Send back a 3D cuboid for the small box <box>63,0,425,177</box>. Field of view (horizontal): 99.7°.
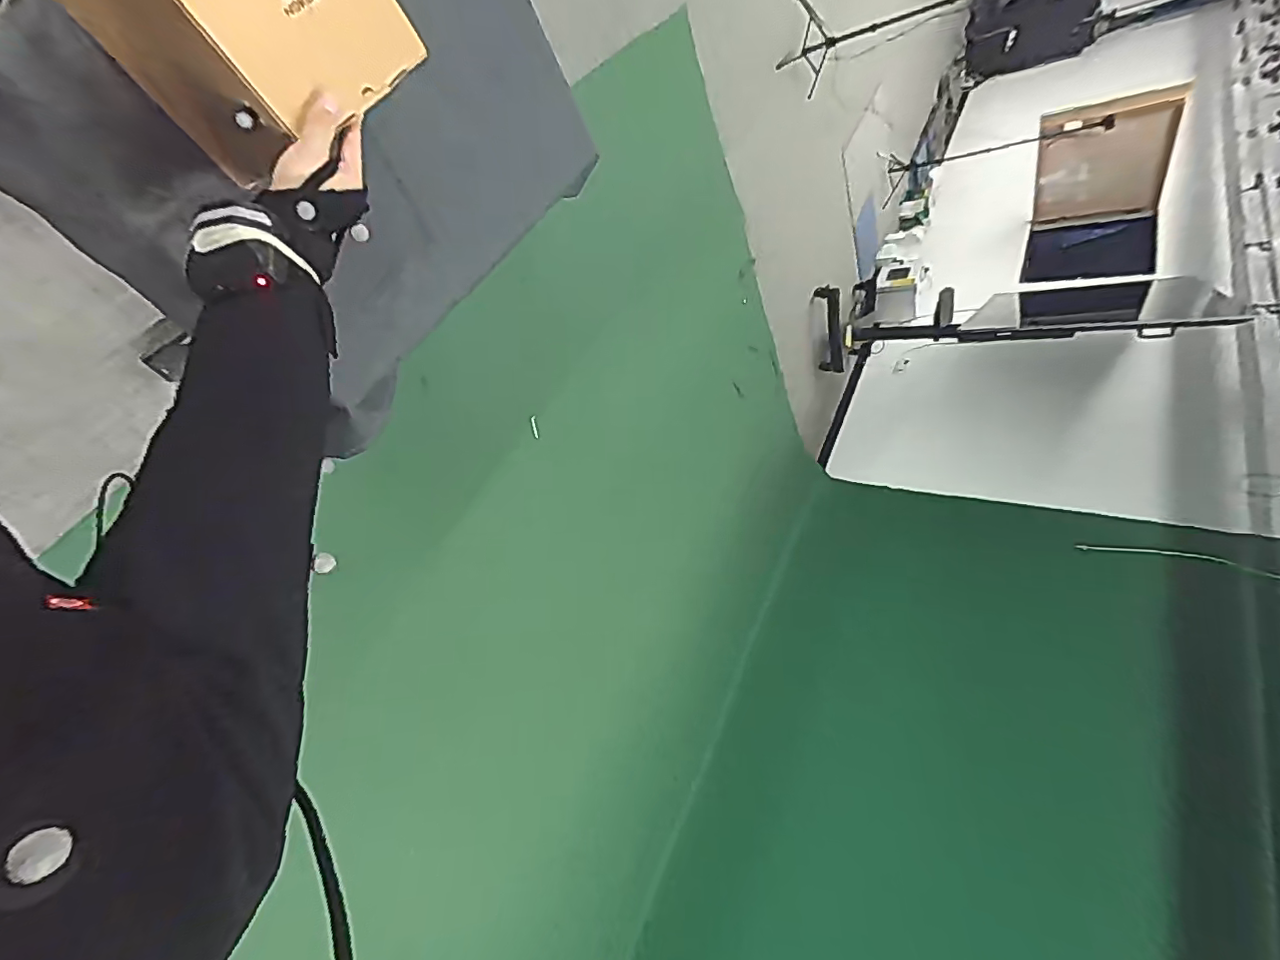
[{"bbox_3d":[-0.335,-0.395,0.460,0.168,0.176,0.179,-61,140,-22],"label":"small box"}]
